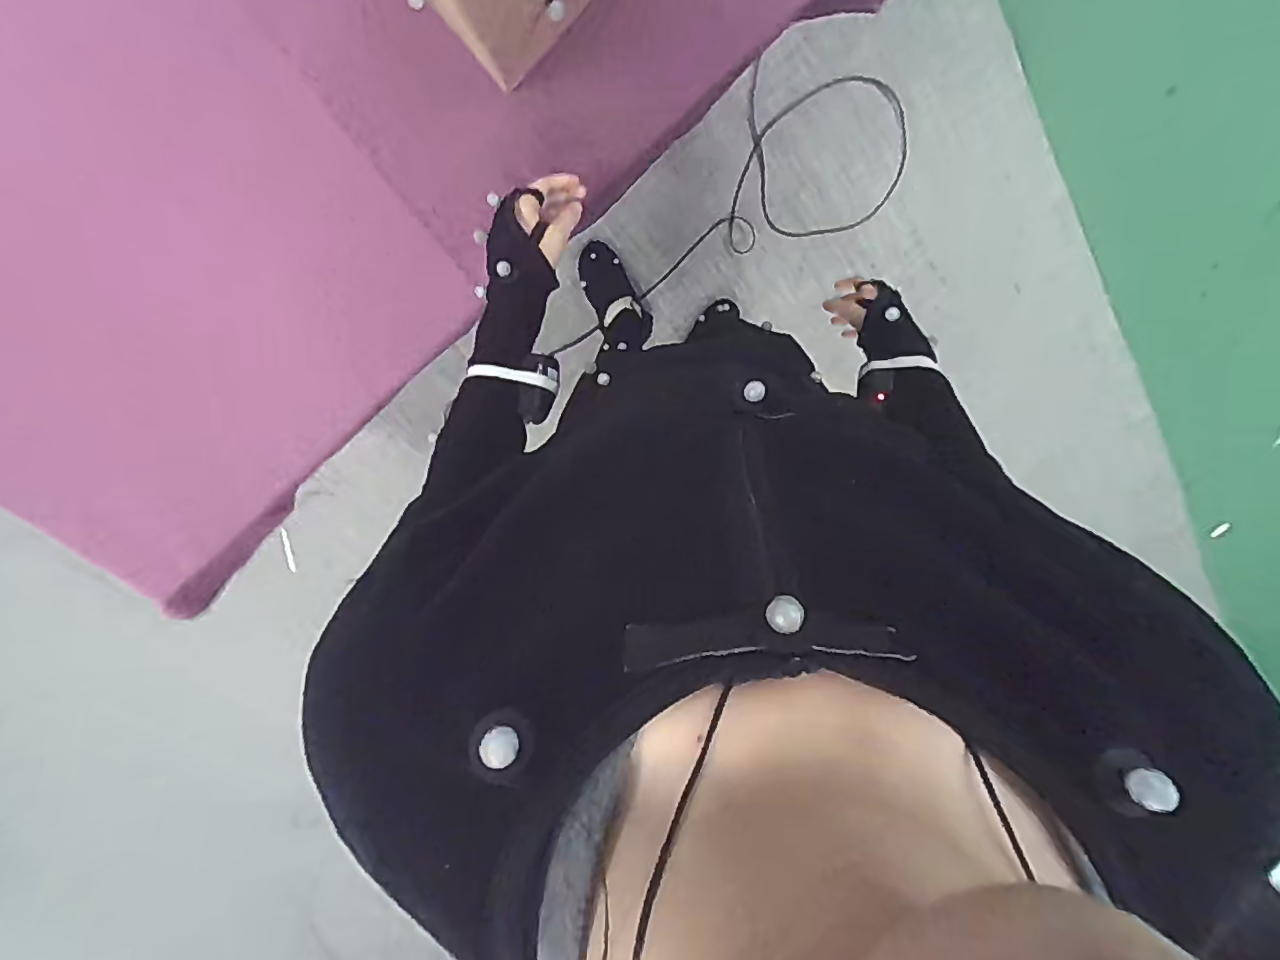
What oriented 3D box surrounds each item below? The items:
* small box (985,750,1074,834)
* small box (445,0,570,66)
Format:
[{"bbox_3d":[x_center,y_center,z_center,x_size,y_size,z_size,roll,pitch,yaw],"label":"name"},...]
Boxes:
[{"bbox_3d":[1.351,1.080,1.887,0.168,0.176,0.179,-36,113,11],"label":"small box"},{"bbox_3d":[-0.122,-0.488,0.436,0.179,0.176,0.168,-41,112,14],"label":"small box"}]
